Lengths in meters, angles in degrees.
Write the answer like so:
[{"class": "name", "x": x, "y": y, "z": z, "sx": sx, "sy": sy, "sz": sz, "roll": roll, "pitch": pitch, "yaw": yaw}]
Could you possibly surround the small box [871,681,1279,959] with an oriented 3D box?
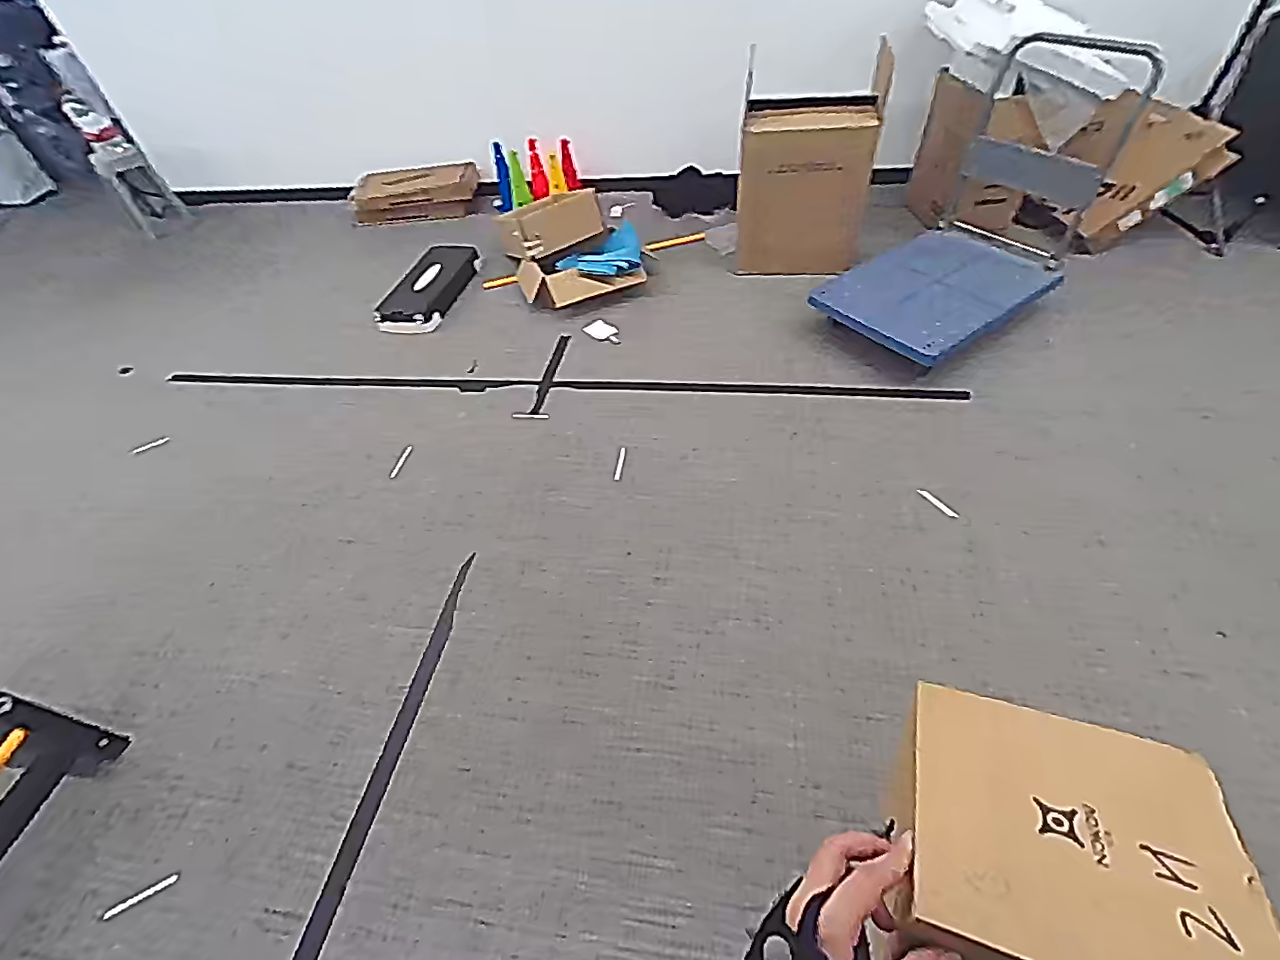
[{"class": "small box", "x": 0.264, "y": 0.276, "z": 0.367, "sx": 0.179, "sy": 0.176, "sz": 0.168, "roll": 10, "pitch": 36, "yaw": 22}]
